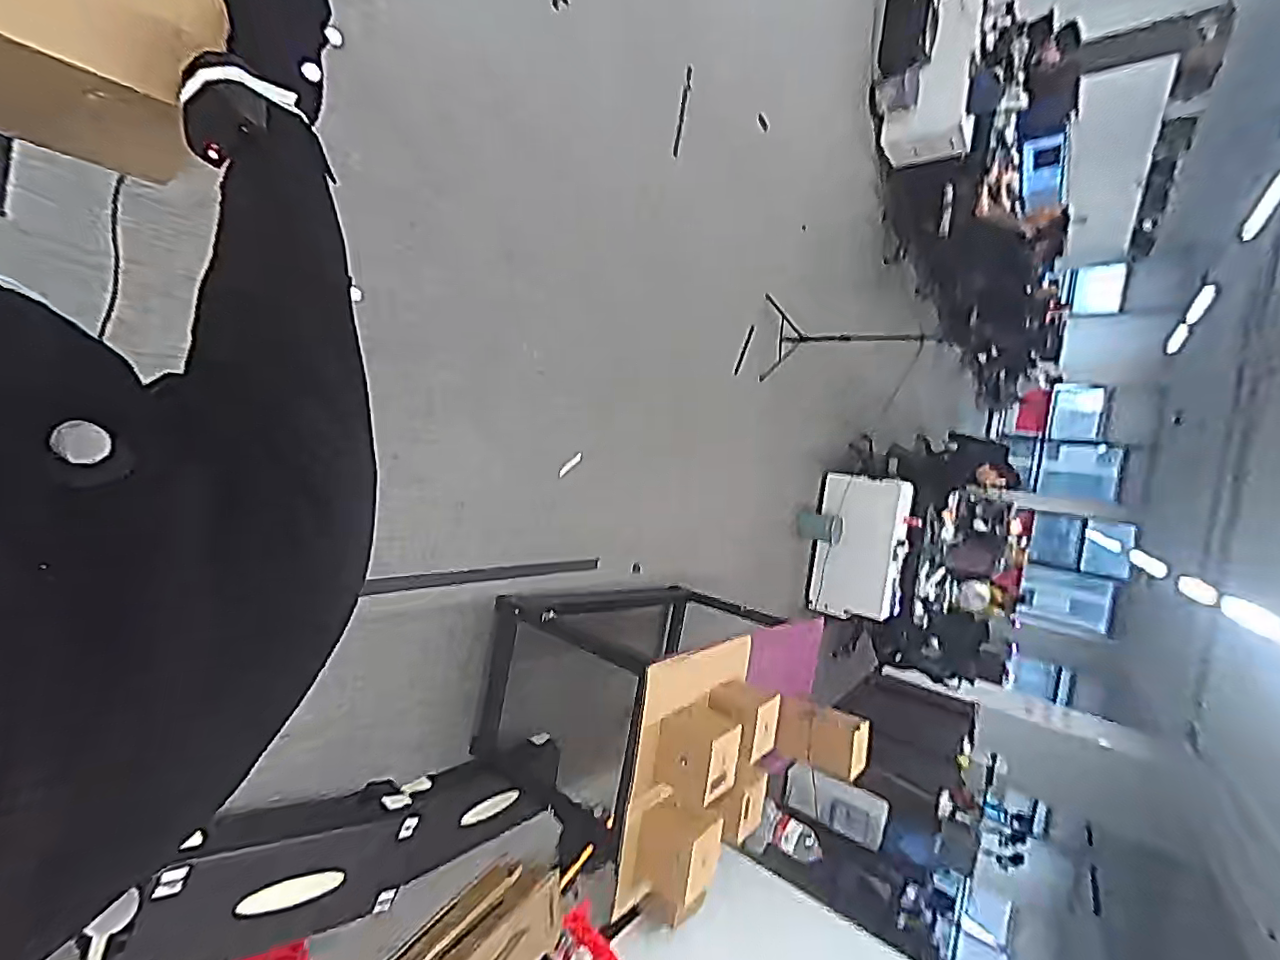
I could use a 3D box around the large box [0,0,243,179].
[{"bbox_3d":[-0.566,-0.479,0.388,0.408,0.320,0.320,1,101,-50],"label":"large box"}]
